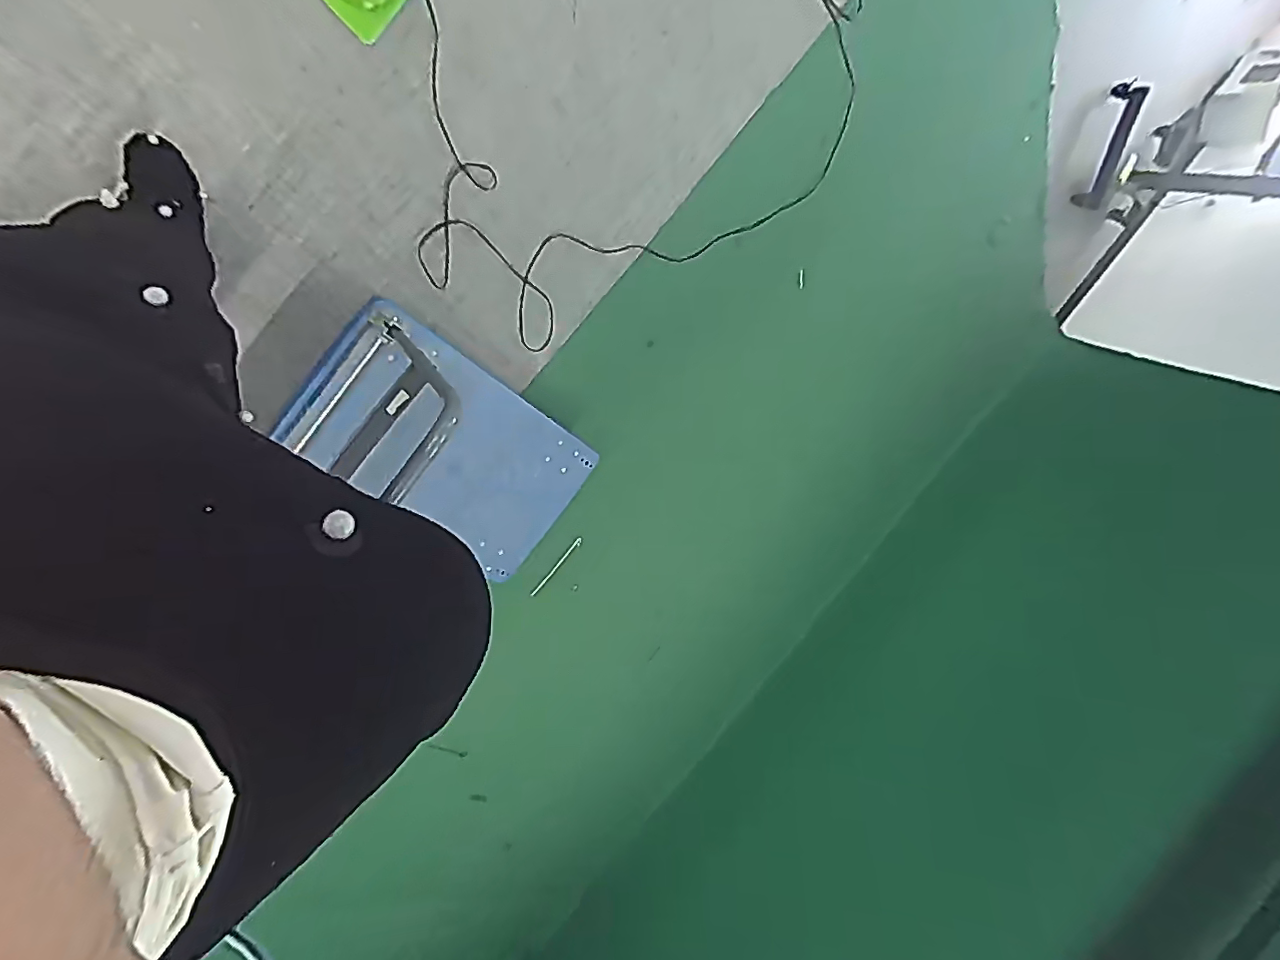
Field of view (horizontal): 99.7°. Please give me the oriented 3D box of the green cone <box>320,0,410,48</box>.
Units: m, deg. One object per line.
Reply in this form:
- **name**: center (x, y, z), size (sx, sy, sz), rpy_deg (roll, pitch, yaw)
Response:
- **green cone**: center (-0.487, -0.978, 0.993), size (0.202, 0.368, 0.200), rpy_deg (-54, 137, 1)
